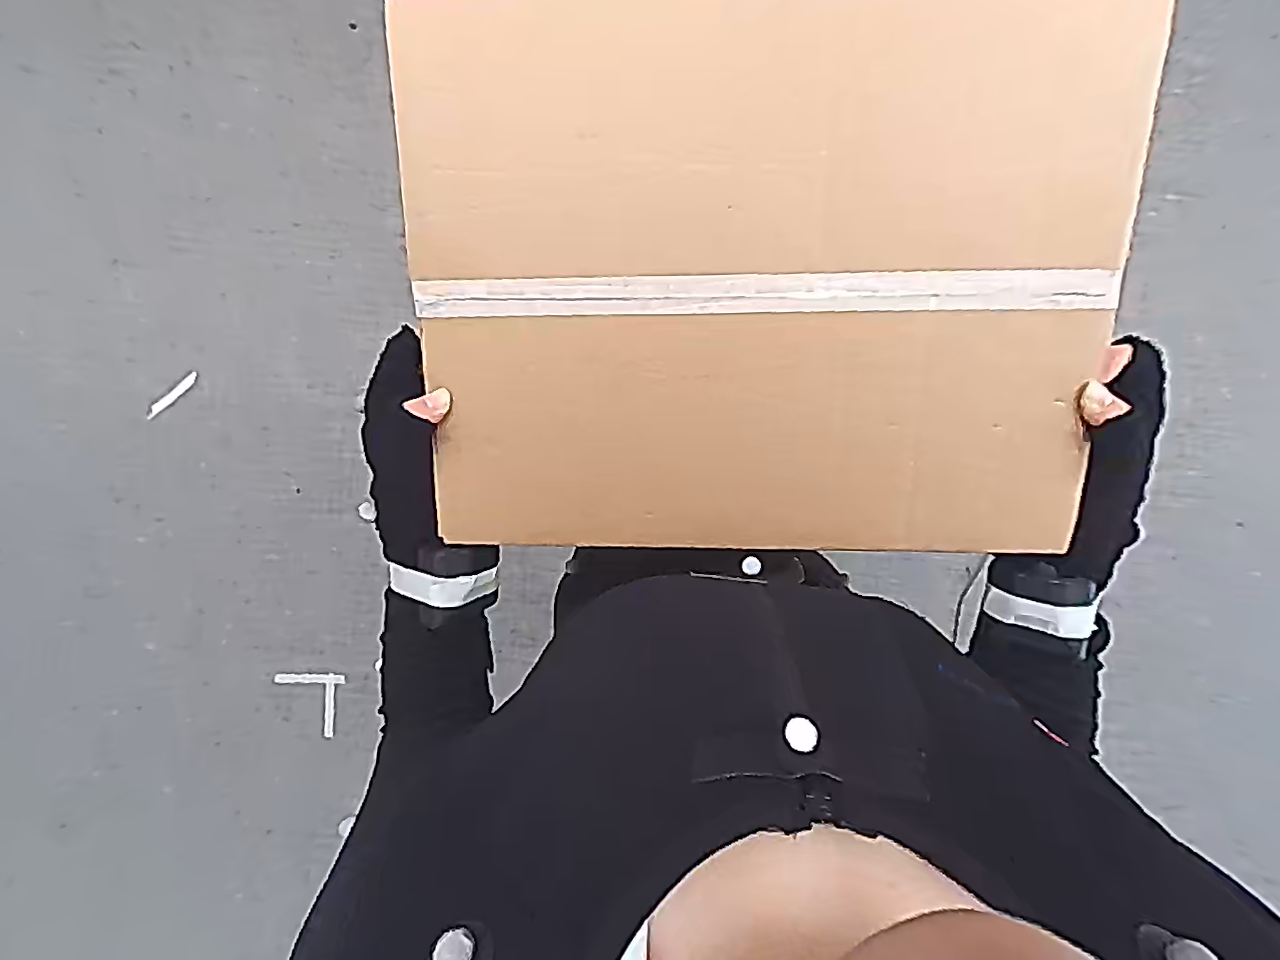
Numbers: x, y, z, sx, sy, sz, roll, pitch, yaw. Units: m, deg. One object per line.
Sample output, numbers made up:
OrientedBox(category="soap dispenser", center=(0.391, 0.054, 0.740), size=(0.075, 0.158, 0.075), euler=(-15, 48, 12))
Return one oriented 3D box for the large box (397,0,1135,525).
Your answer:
OrientedBox(category="large box", center=(0.069, -0.155, 0.470), size=(0.408, 0.320, 0.320), euler=(1, 105, 3))
